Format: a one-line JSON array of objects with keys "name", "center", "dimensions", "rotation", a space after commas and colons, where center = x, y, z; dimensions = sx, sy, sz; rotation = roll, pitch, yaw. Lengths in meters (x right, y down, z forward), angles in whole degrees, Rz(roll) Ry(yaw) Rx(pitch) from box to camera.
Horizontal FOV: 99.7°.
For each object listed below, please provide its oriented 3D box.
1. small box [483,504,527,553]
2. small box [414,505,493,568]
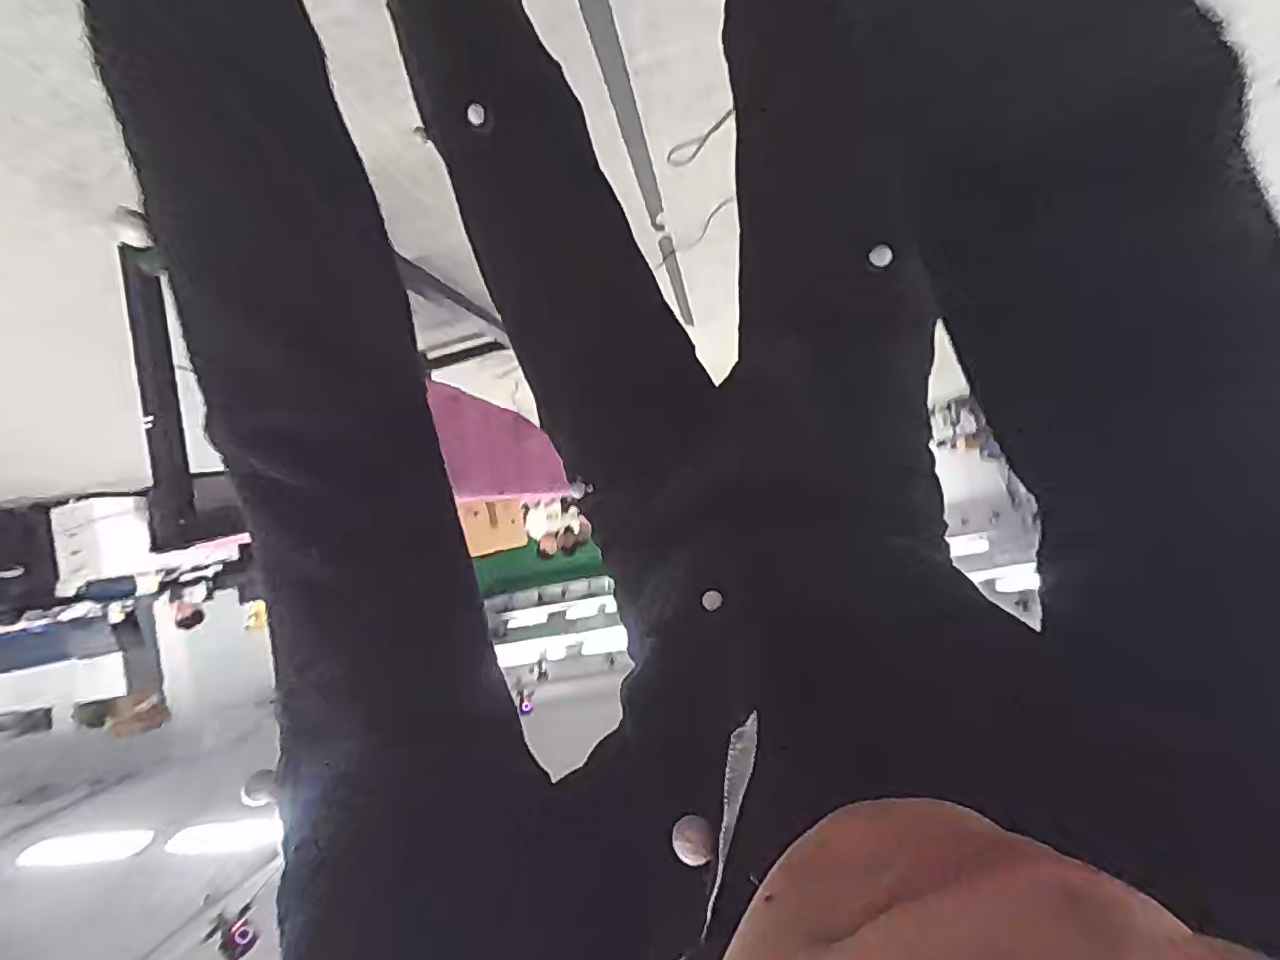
[{"name": "small box", "center": [-0.547, 0.182, 1.996], "dimensions": [0.179, 0.176, 0.168], "rotation": [-12, 176, 19]}, {"name": "small box", "center": [-0.606, 0.179, 1.750], "dimensions": [0.179, 0.176, 0.168], "rotation": [-13, 177, 20]}]
